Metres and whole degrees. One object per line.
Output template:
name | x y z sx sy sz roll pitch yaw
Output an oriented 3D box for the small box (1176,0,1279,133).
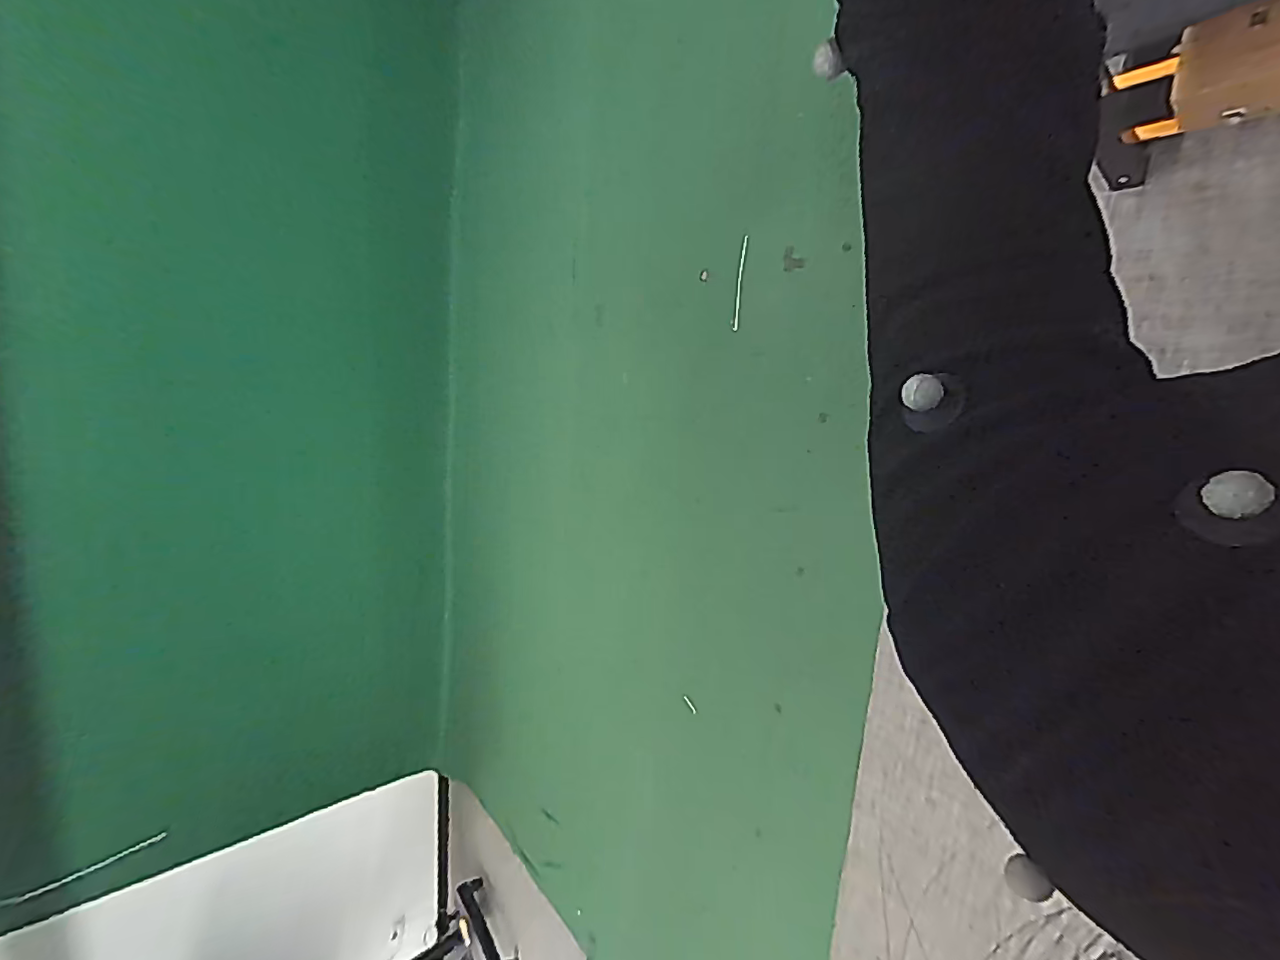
small box | 0.991 -0.696 0.861 0.168 0.176 0.179 13 105 48
